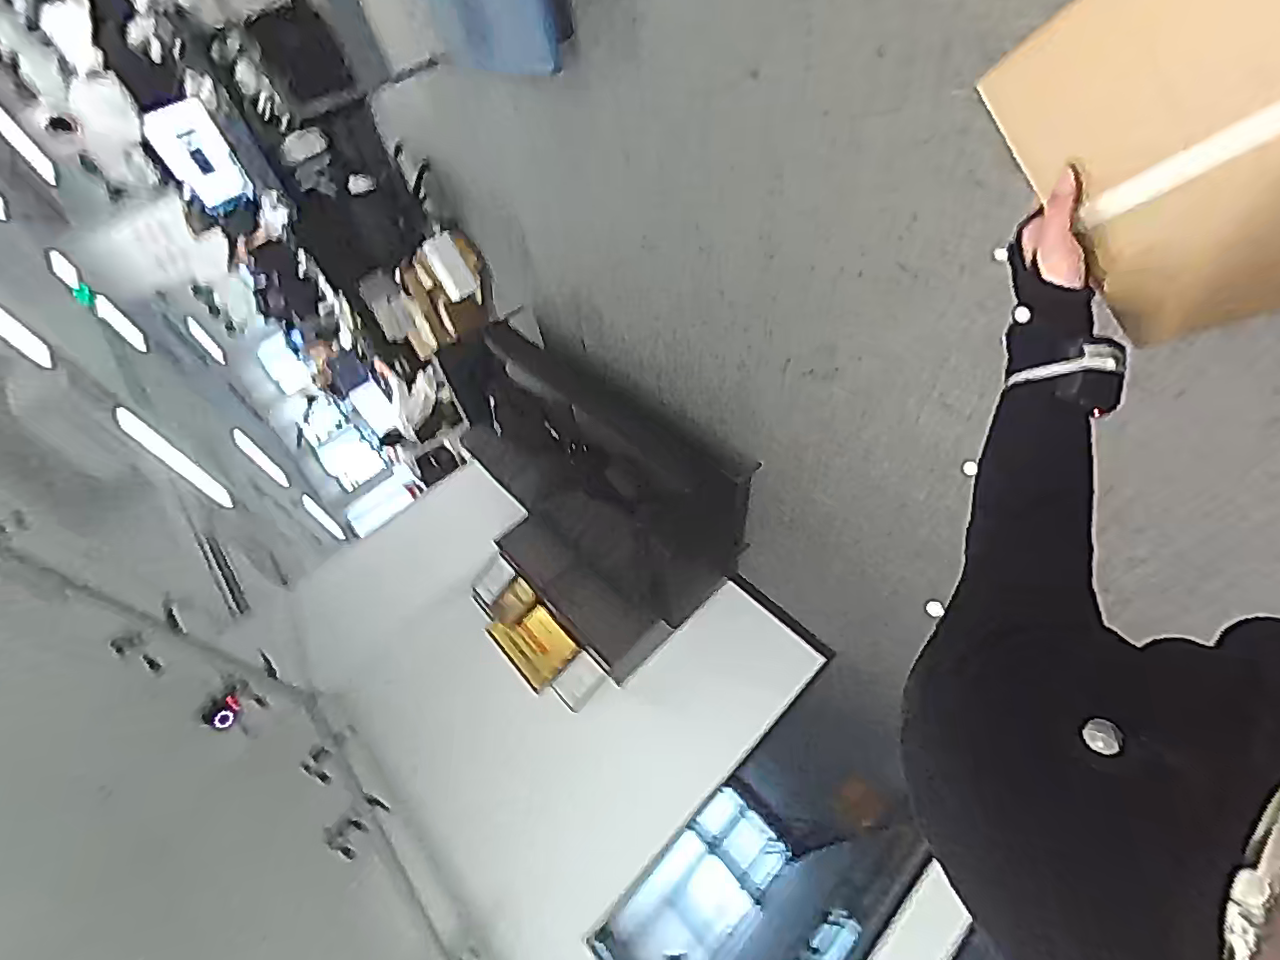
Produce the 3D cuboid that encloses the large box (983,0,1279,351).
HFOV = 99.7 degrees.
[{"bbox_3d":[0.593,-0.373,0.421,0.320,0.320,0.408,50,154,-9],"label":"large box"}]
